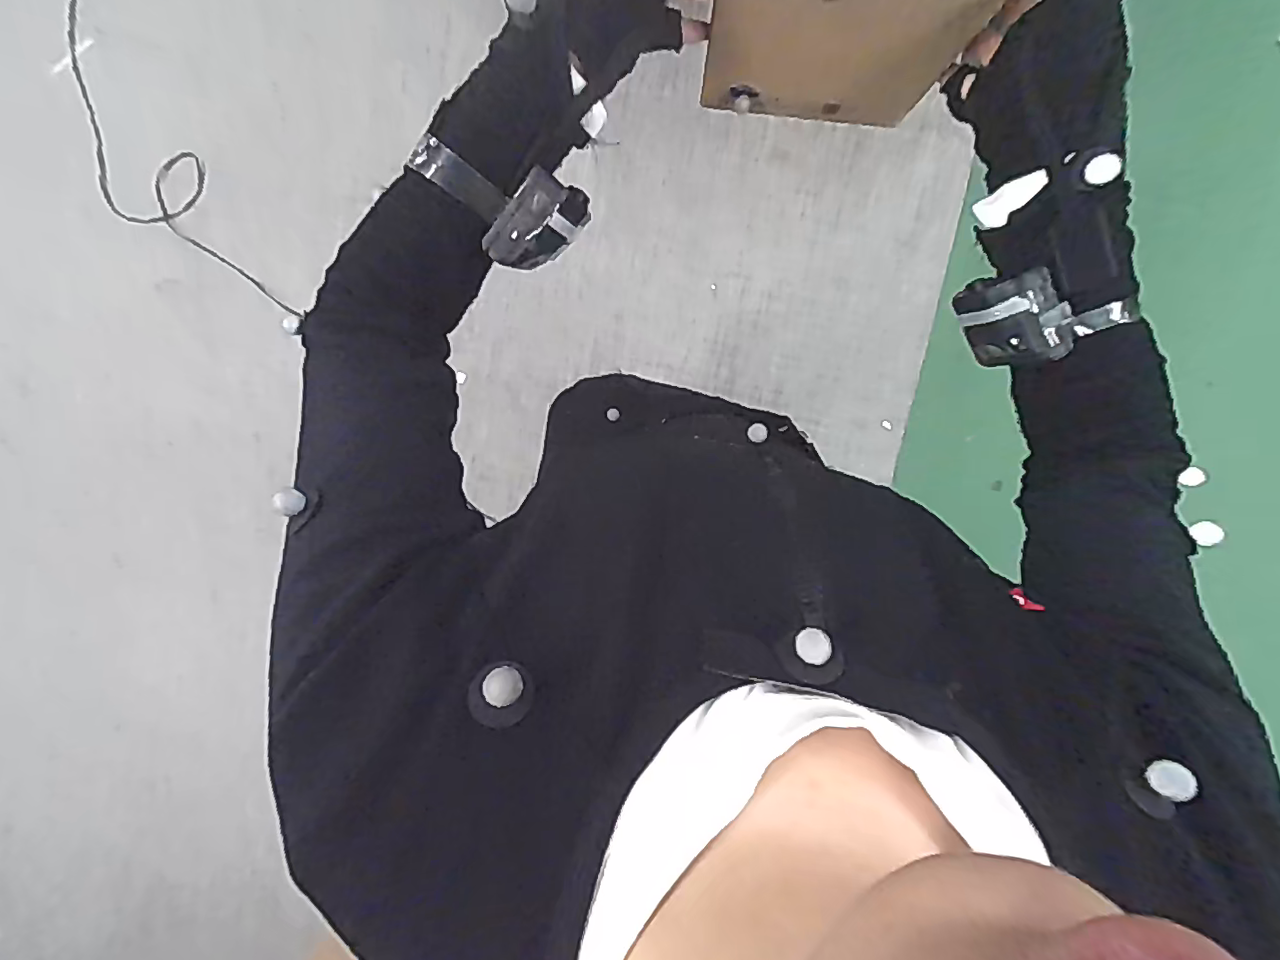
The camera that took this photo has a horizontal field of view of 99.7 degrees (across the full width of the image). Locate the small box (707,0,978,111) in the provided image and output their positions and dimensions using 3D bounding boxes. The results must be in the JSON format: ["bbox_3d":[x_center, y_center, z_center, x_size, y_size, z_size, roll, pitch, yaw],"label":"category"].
[{"bbox_3d":[0.139,-0.380,0.353,0.168,0.176,0.179,7,98,0],"label":"small box"}]
